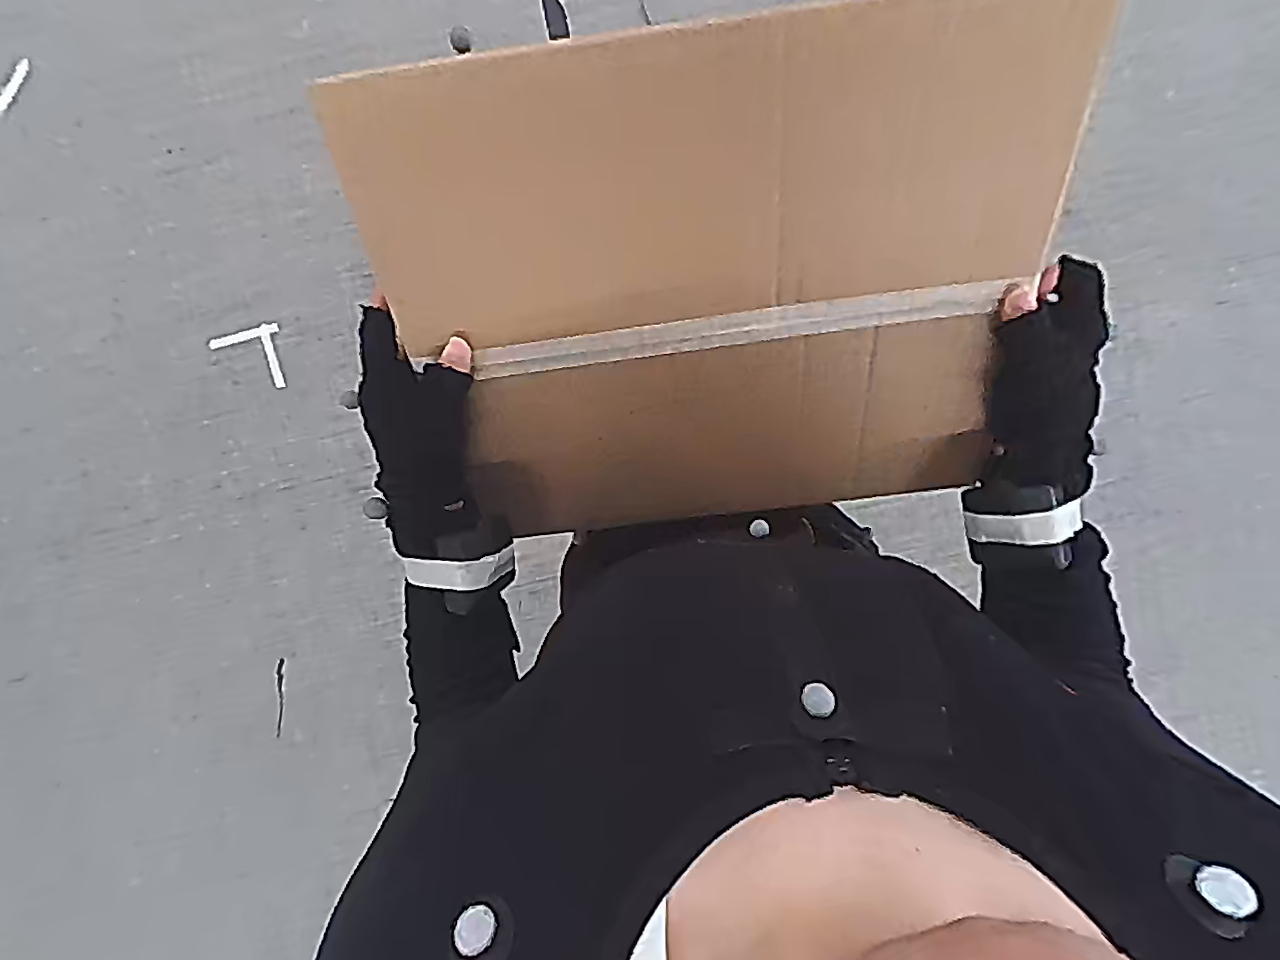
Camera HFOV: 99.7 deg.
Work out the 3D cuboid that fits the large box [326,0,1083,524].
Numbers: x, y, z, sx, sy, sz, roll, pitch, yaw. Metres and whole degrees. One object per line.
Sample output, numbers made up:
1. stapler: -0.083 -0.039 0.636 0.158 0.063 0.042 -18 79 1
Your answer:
1. large box: 0.039 -0.195 0.483 0.408 0.320 0.320 -7 127 2
